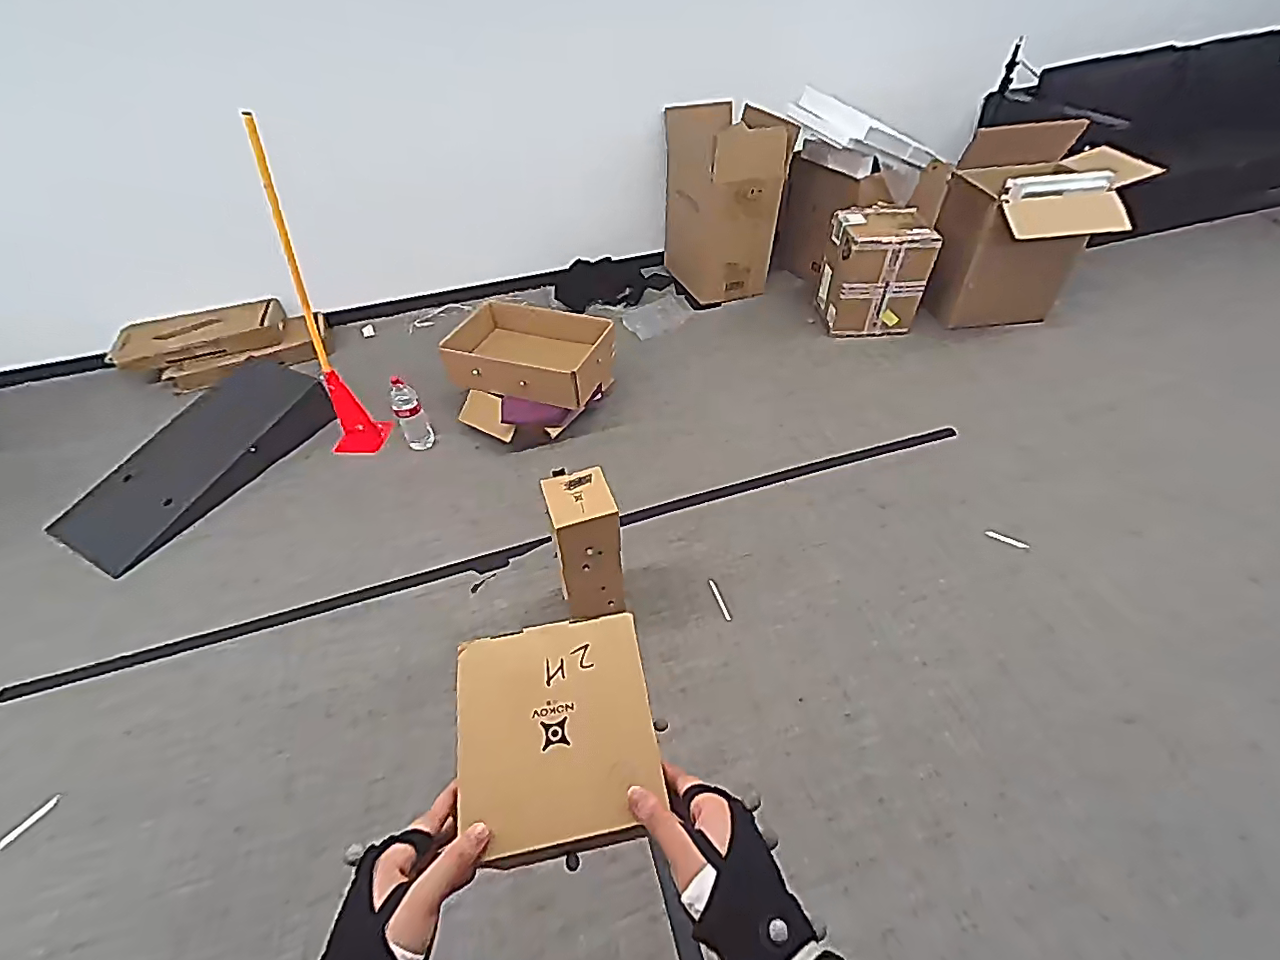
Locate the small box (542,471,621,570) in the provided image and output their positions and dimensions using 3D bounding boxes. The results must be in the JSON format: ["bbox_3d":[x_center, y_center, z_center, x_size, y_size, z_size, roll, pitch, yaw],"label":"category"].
[{"bbox_3d":[-0.156,0.109,1.444,0.168,0.176,0.179,-16,47,-12],"label":"small box"}]

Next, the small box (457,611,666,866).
[{"bbox_3d":[-0.072,0.254,0.527,0.168,0.176,0.179,-10,53,-7],"label":"small box"}]

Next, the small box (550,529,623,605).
[{"bbox_3d":[-0.154,0.227,1.560,0.168,0.176,0.179,-16,45,-12],"label":"small box"}]

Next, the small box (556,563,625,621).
[{"bbox_3d":[-0.148,0.342,1.677,0.179,0.176,0.168,-15,46,-10],"label":"small box"}]
